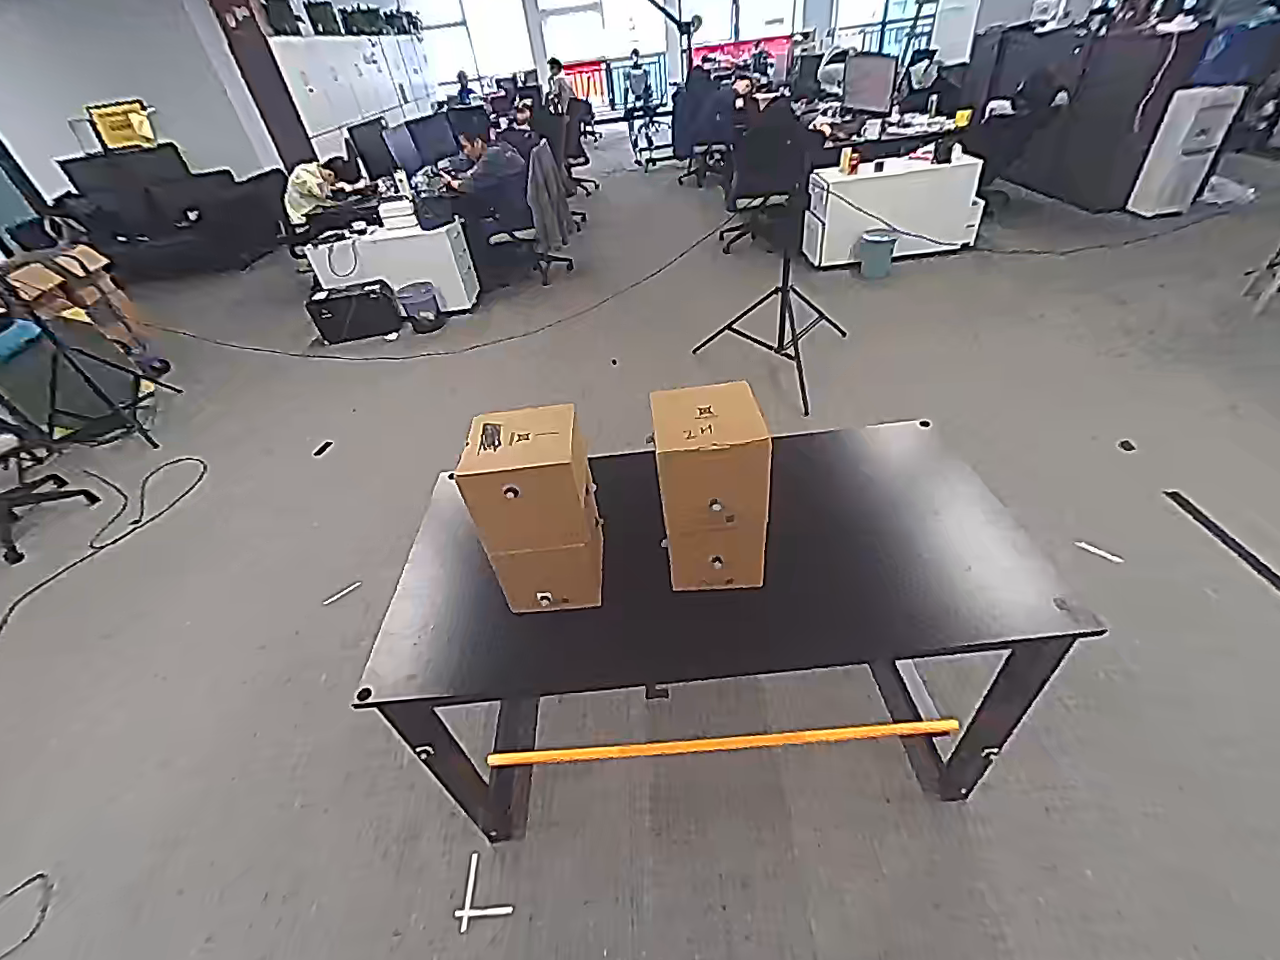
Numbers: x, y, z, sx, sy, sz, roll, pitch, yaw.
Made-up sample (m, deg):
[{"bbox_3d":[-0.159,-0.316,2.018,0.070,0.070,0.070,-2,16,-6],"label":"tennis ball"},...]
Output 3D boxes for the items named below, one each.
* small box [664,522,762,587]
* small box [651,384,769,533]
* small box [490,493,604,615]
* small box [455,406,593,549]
[{"bbox_3d":[0.134,0.085,1.002,0.168,0.176,0.179,-4,40,5],"label":"small box"},{"bbox_3d":[0.110,-0.036,0.890,0.168,0.176,0.179,-7,39,2],"label":"small box"},{"bbox_3d":[-0.162,0.125,1.005,0.168,0.176,0.179,-7,40,3],"label":"small box"},{"bbox_3d":[-0.180,-0.001,0.899,0.179,0.176,0.168,-7,39,2],"label":"small box"}]
